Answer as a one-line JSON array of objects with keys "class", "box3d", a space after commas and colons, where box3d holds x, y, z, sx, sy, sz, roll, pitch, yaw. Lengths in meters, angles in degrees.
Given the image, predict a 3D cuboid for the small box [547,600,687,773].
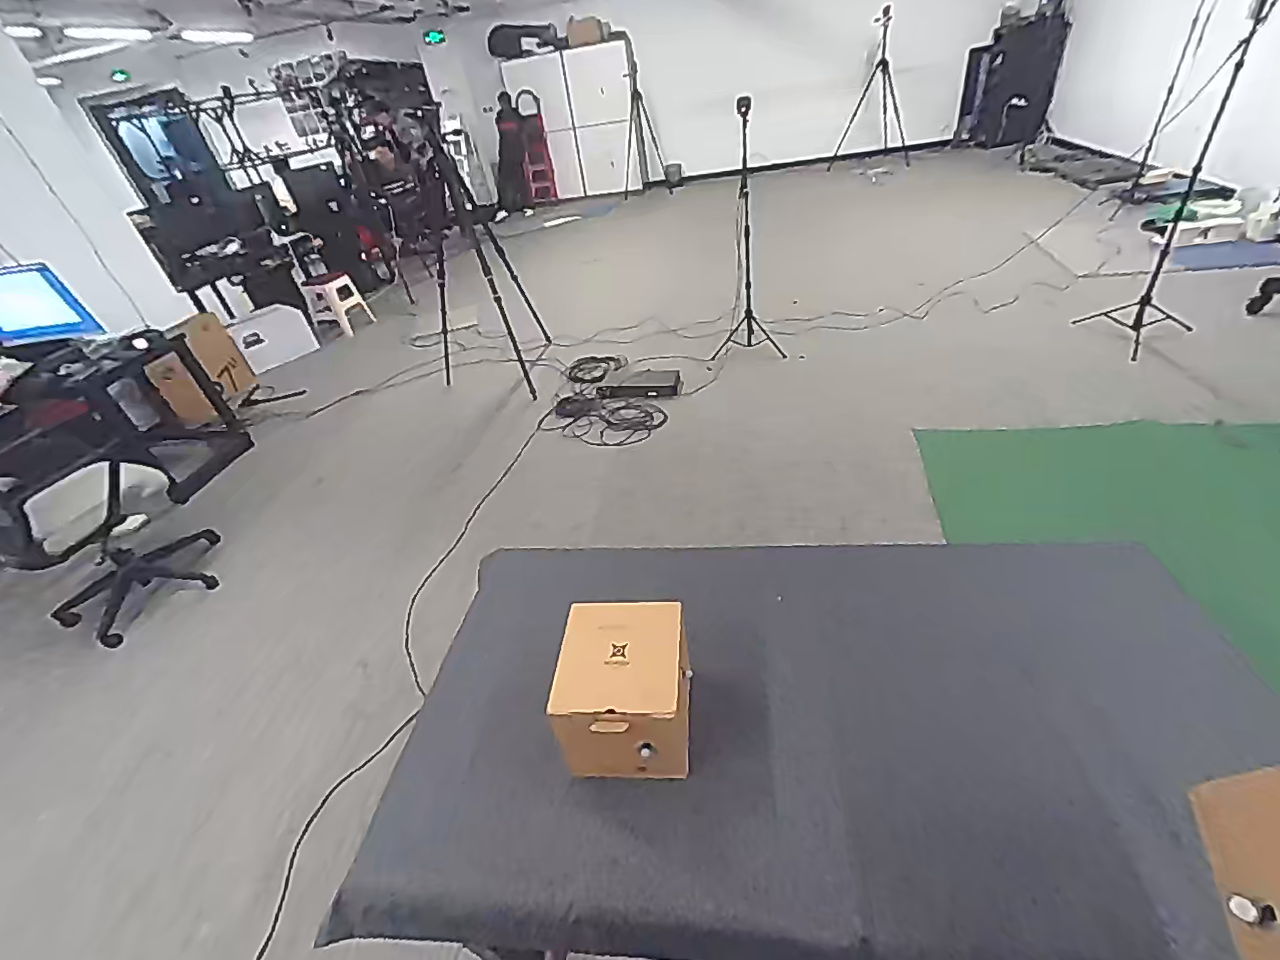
[{"class": "small box", "box3d": [-0.020, 0.294, 0.772, 0.168, 0.176, 0.179, -2, 36, 8]}]
